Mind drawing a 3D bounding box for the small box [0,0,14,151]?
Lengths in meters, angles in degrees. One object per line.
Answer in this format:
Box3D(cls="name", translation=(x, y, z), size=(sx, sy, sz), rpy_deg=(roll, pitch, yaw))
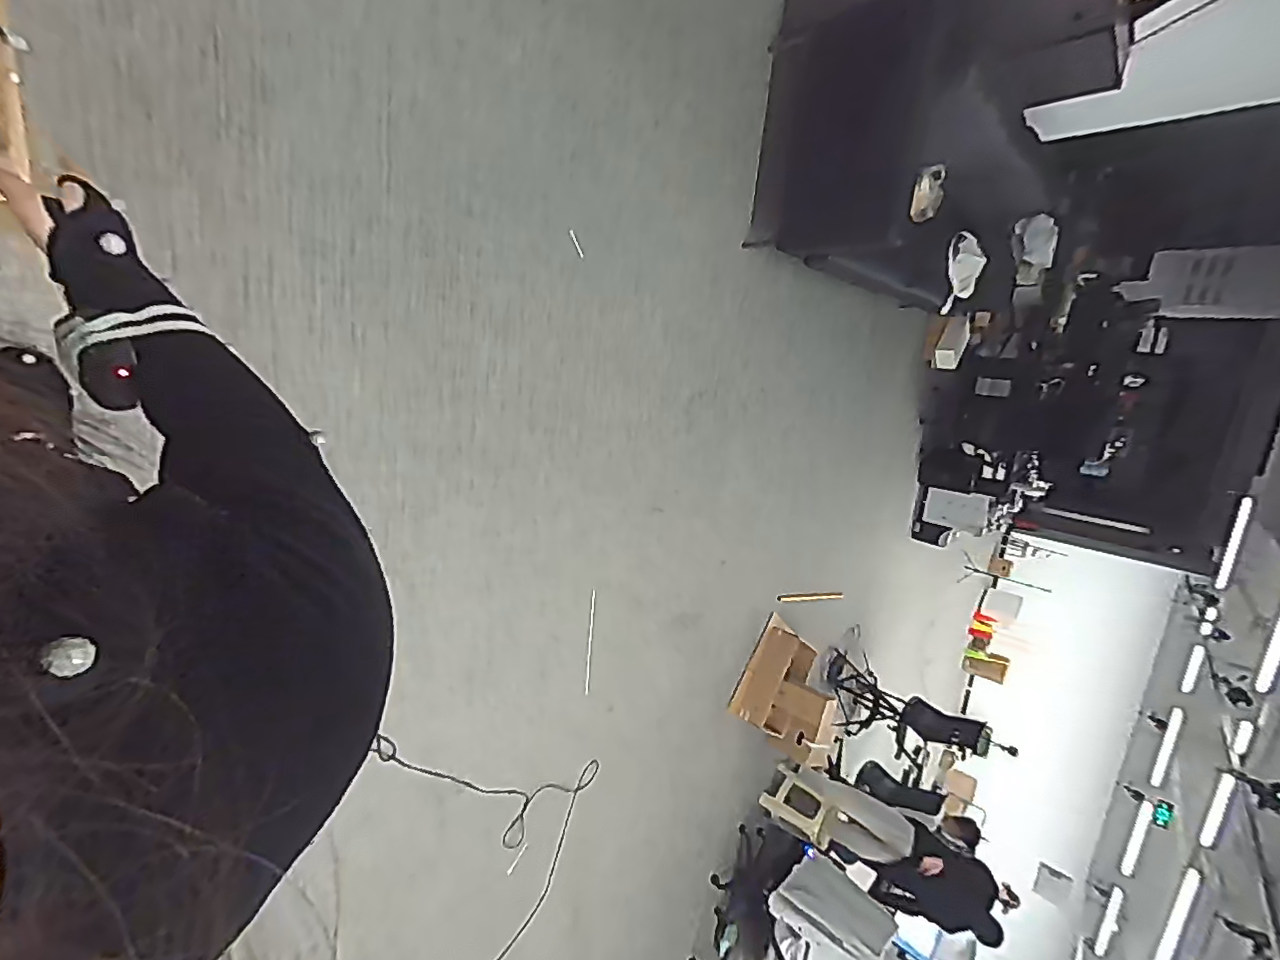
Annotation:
Box3D(cls="small box", translation=(-0.625, -0.391, 0.426), size=(0.168, 0.176, 0.179), rpy_deg=(0, 104, -47))
